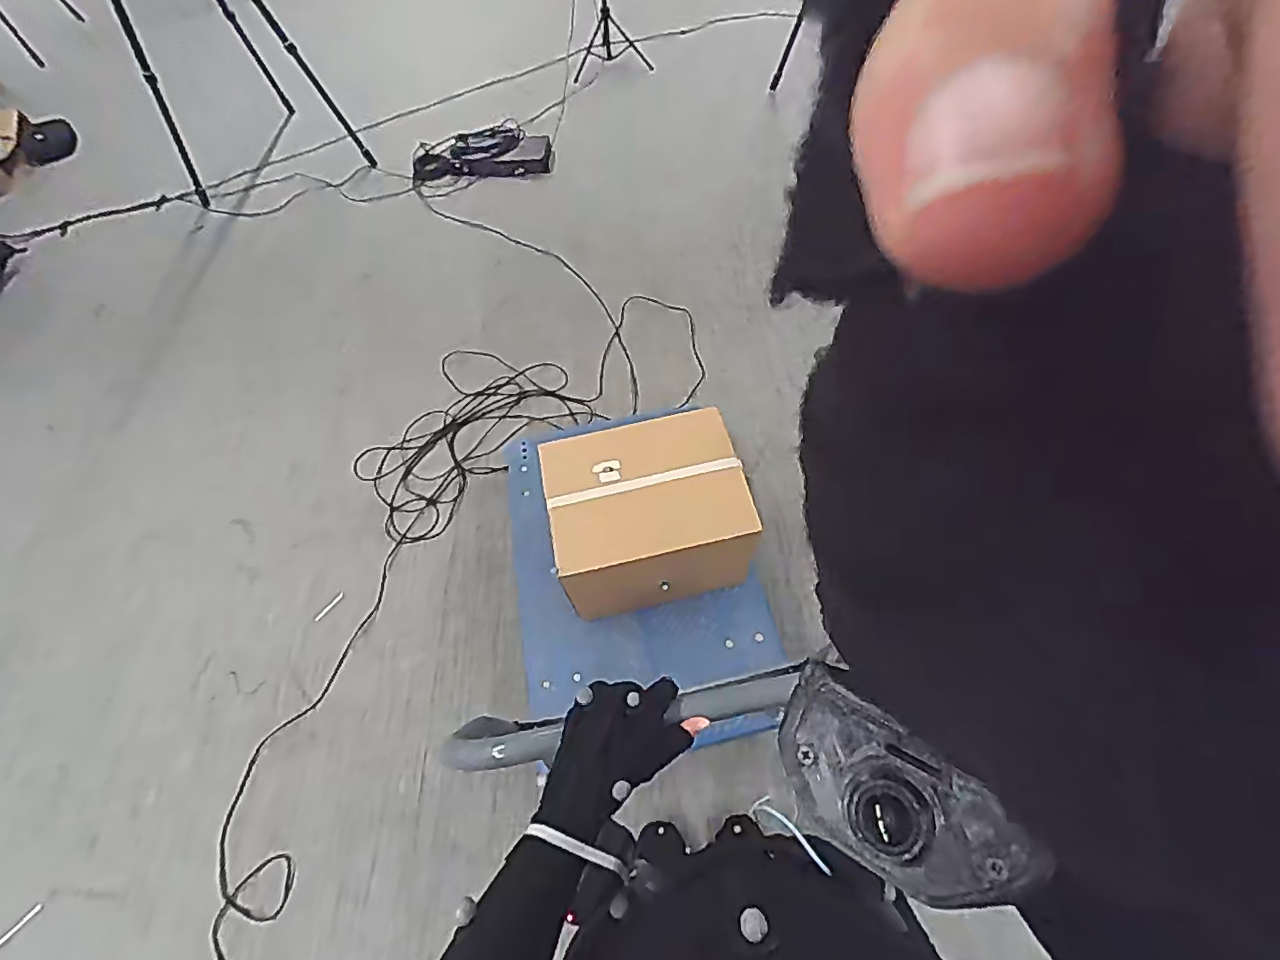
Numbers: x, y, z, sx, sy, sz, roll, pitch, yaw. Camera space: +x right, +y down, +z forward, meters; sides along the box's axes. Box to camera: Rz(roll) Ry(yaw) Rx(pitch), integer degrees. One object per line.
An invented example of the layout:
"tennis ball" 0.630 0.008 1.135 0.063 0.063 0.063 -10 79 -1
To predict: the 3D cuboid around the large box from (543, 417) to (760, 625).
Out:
"large box" 0.025 0.105 1.247 0.408 0.320 0.320 -13 59 -2
